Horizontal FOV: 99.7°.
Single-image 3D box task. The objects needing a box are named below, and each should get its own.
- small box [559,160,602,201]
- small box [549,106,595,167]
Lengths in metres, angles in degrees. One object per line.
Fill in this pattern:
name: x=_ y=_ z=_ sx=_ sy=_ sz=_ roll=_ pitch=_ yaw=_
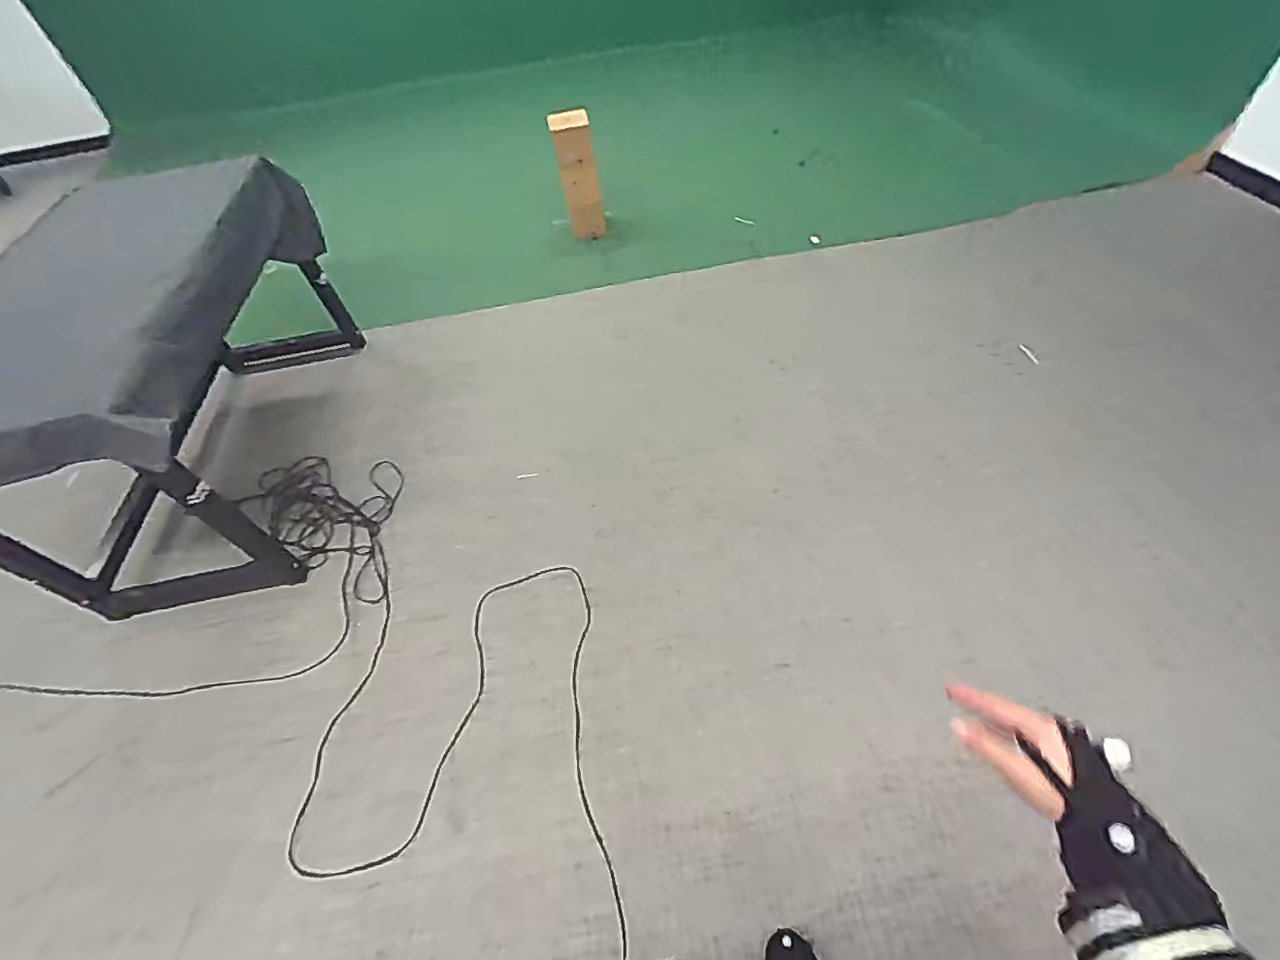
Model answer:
small box: x=-0.276 y=-1.411 z=2.502 sx=0.168 sy=0.176 sz=0.179 roll=-10 pitch=52 yaw=1
small box: x=-0.297 y=-1.503 z=2.369 sx=0.168 sy=0.176 sz=0.179 roll=-12 pitch=53 yaw=0
